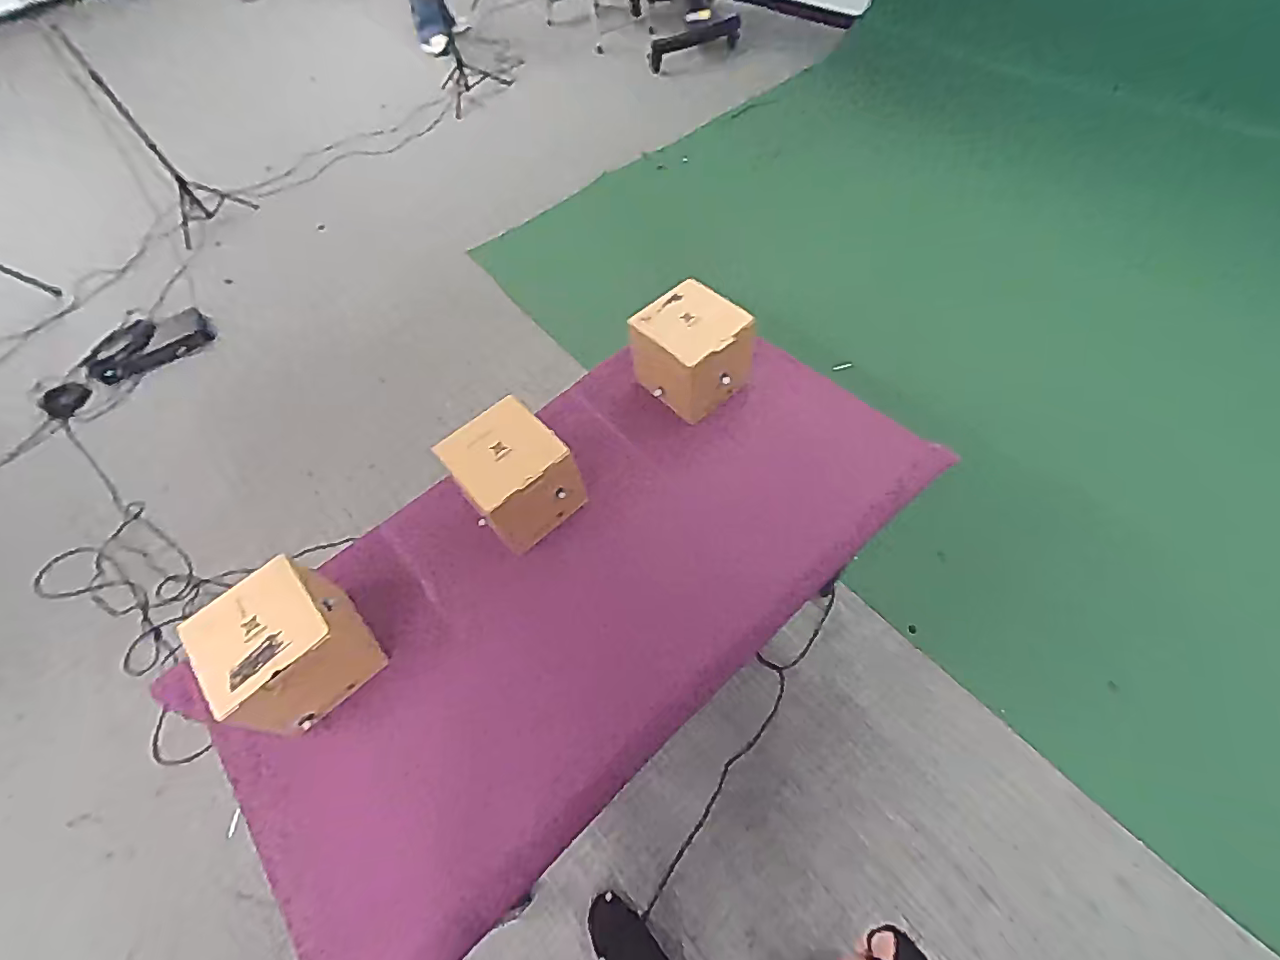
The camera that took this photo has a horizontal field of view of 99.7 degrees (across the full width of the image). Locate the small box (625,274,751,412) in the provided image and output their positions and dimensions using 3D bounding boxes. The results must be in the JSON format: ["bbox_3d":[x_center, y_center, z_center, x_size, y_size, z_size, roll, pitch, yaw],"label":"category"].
[{"bbox_3d":[0.095,-0.259,1.060,0.168,0.176,0.179,-38,62,-16],"label":"small box"}]

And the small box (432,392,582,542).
[{"bbox_3d":[-0.223,-0.013,0.952,0.168,0.176,0.179,-39,62,-17],"label":"small box"}]

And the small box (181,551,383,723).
[{"bbox_3d":[-0.533,0.247,0.828,0.168,0.176,0.179,-41,62,-17],"label":"small box"}]
